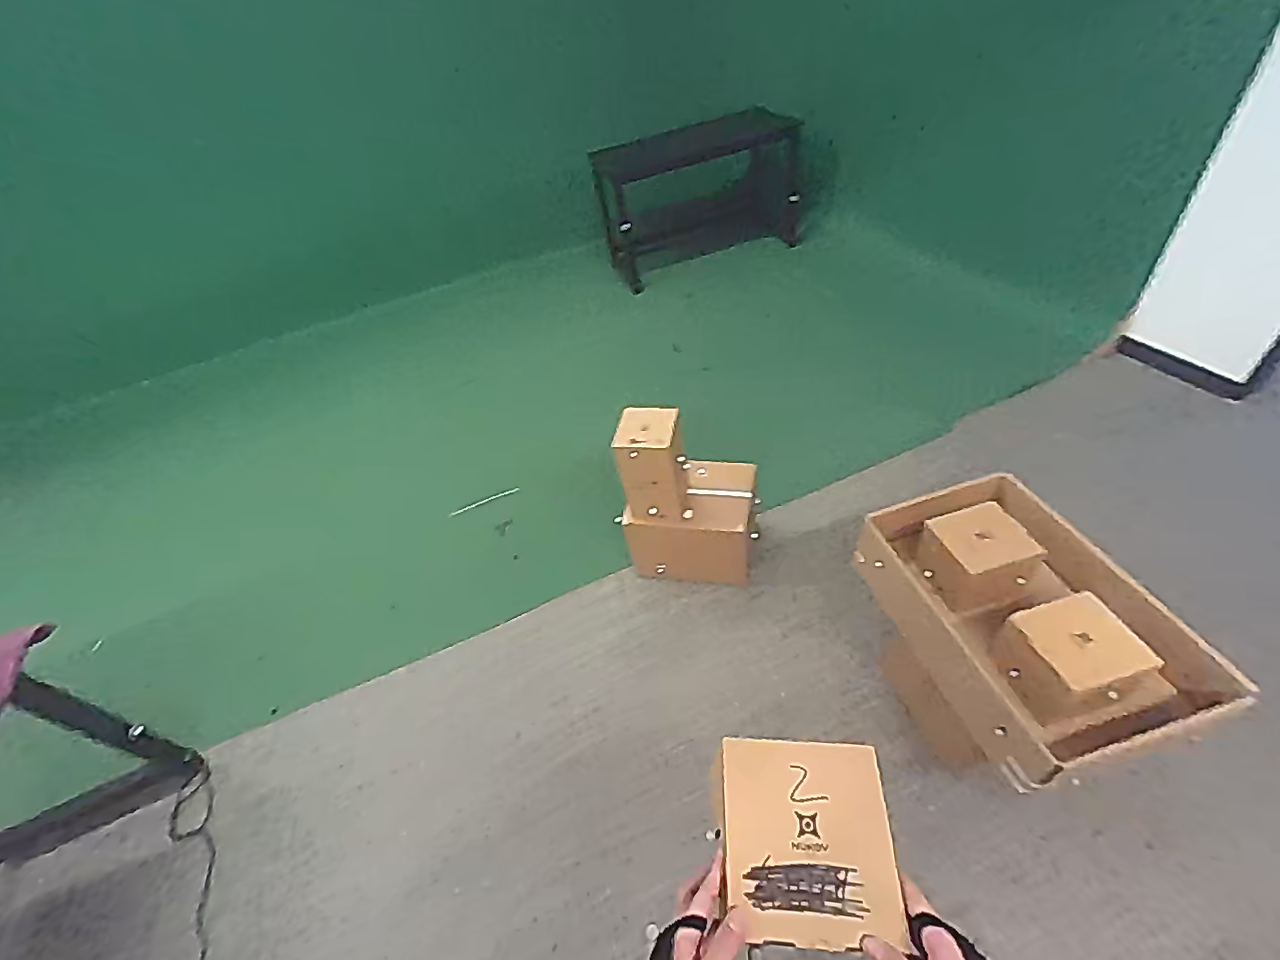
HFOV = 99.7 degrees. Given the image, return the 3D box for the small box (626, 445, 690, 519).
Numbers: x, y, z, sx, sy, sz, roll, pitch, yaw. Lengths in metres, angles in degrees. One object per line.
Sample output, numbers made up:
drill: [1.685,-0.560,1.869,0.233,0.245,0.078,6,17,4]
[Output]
small box: [0.064,0.002,1.748,0.168,0.176,0.179,3,48,16]

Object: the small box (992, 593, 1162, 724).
small box: [0.851,0.356,1.076,0.179,0.176,0.168,-17,45,-2]

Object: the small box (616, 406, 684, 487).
small box: [0.037,-0.103,1.625,0.168,0.176,0.179,3,47,15]
